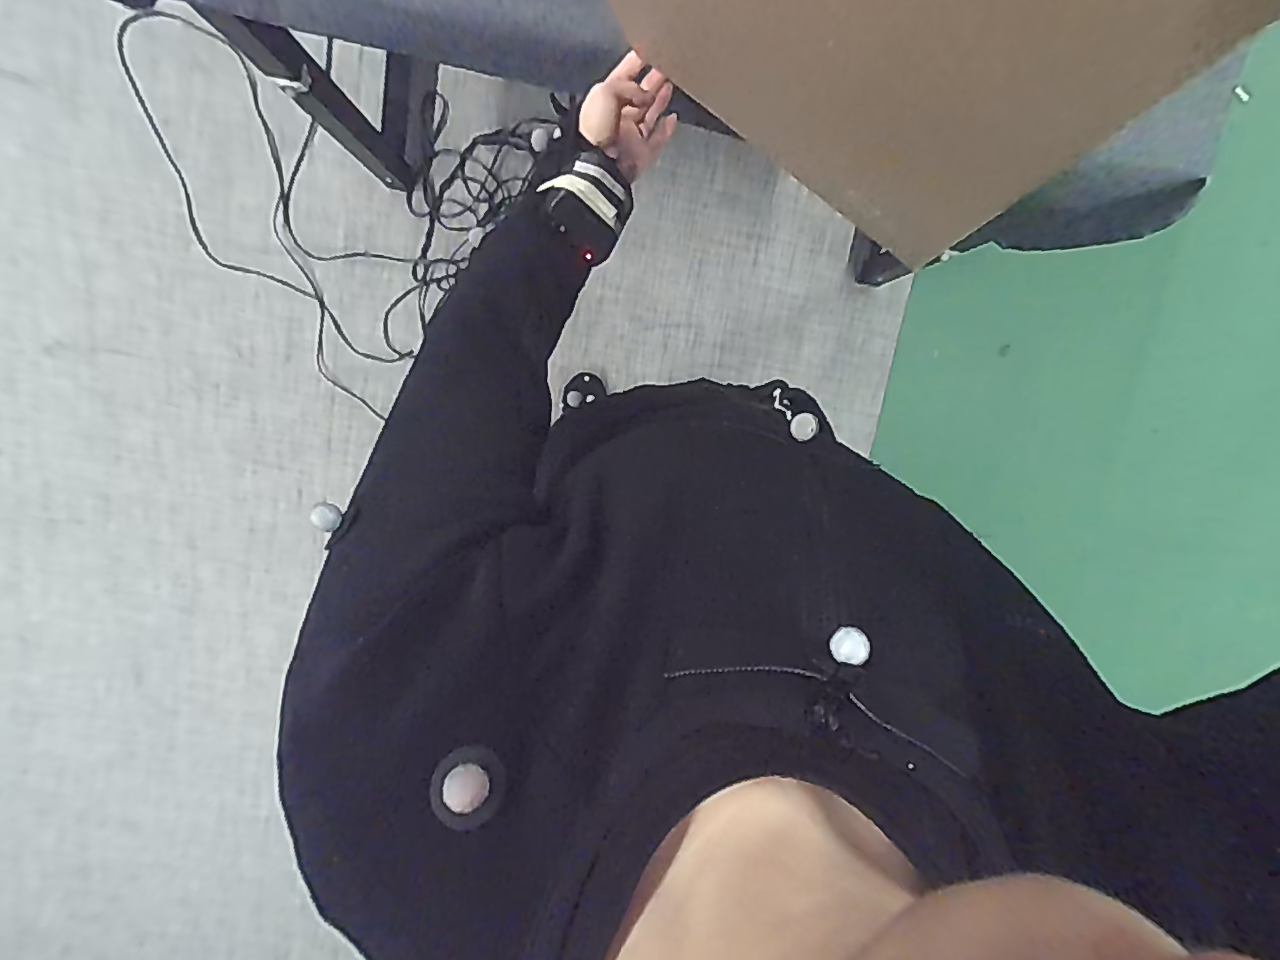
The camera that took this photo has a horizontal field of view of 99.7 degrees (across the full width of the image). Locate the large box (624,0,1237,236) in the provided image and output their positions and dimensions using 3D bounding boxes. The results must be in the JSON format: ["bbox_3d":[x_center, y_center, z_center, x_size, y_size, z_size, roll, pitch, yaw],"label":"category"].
[{"bbox_3d":[0.151,-0.362,0.231,0.320,0.408,0.320,39,110,2],"label":"large box"}]
